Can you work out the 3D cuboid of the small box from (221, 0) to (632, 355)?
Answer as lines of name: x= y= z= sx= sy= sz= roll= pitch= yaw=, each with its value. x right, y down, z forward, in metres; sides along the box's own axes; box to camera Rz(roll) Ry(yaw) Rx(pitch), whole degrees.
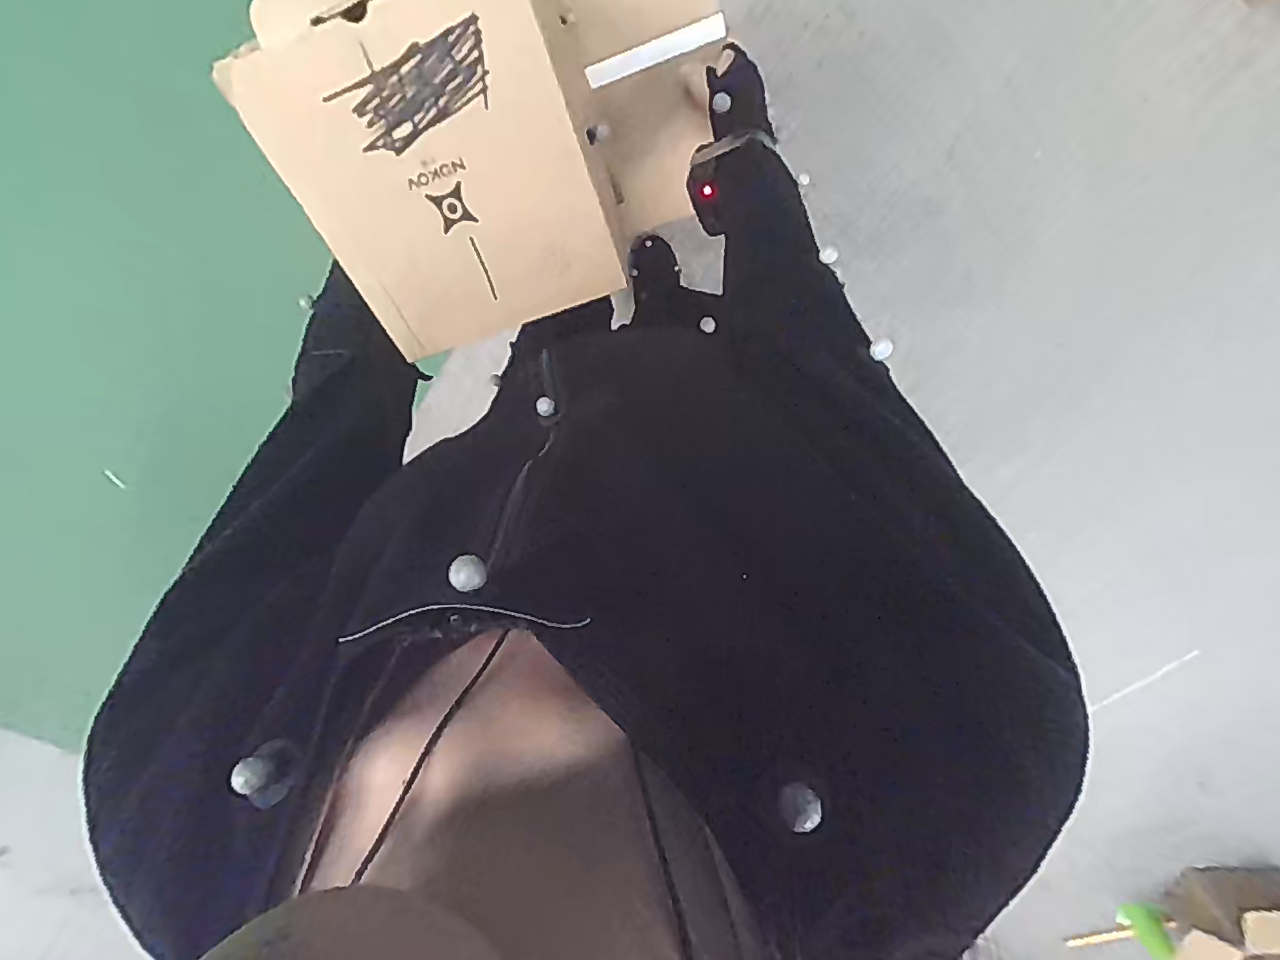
small box: x=-0.111 y=-0.218 z=0.367 sx=0.168 sy=0.176 sz=0.179 roll=-15 pitch=130 yaw=9
